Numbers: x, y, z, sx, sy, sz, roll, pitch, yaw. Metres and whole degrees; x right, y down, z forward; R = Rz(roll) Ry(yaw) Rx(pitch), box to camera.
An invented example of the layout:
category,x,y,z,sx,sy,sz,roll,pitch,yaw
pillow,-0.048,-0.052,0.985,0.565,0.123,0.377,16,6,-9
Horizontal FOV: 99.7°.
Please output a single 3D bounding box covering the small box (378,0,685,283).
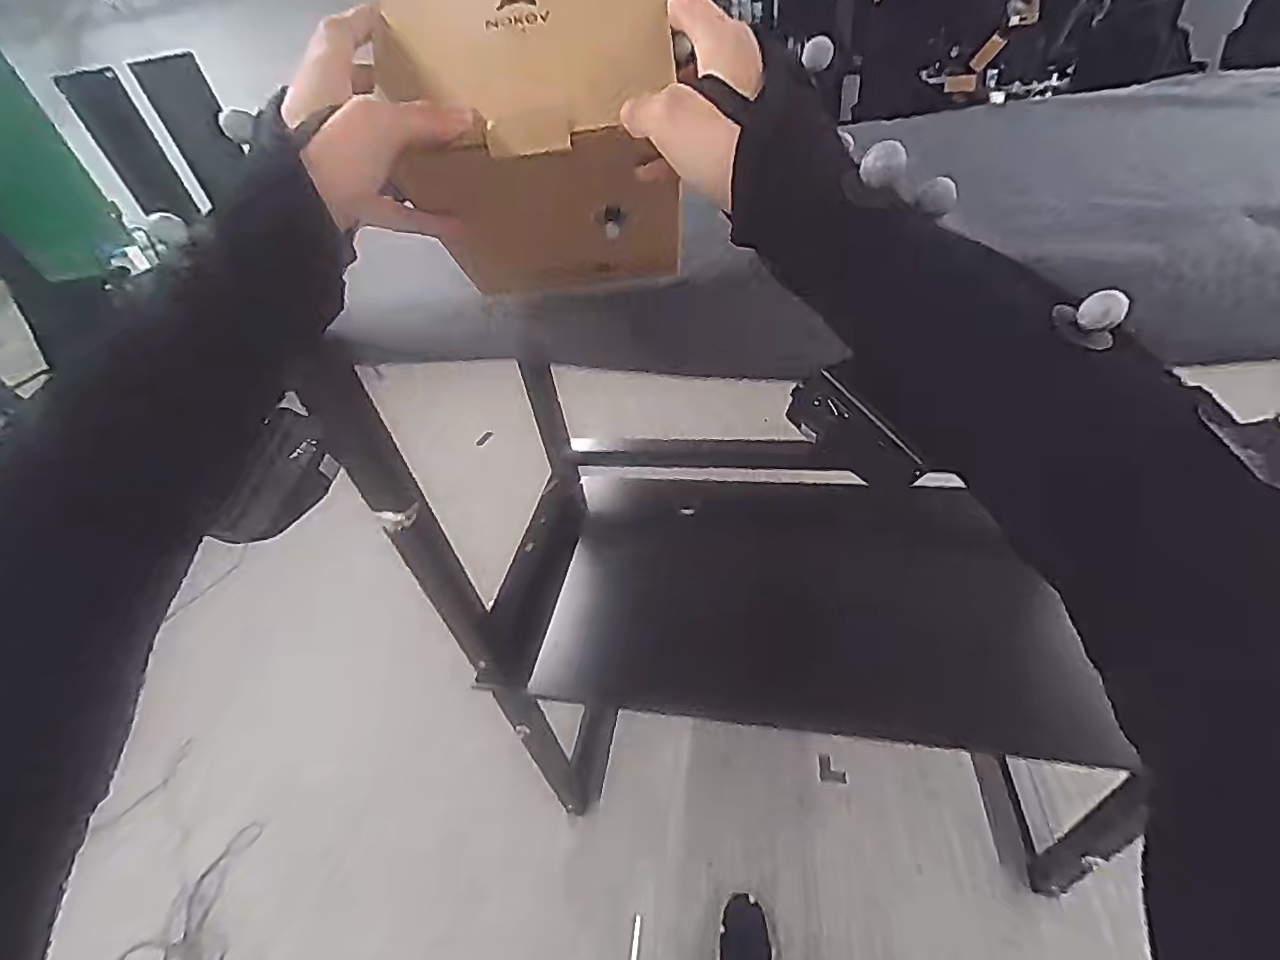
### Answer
category,x,y,z,sx,sy,sz,roll,pitch,yaw
small box,-0.057,-0.253,0.374,0.168,0.176,0.179,-6,84,2
